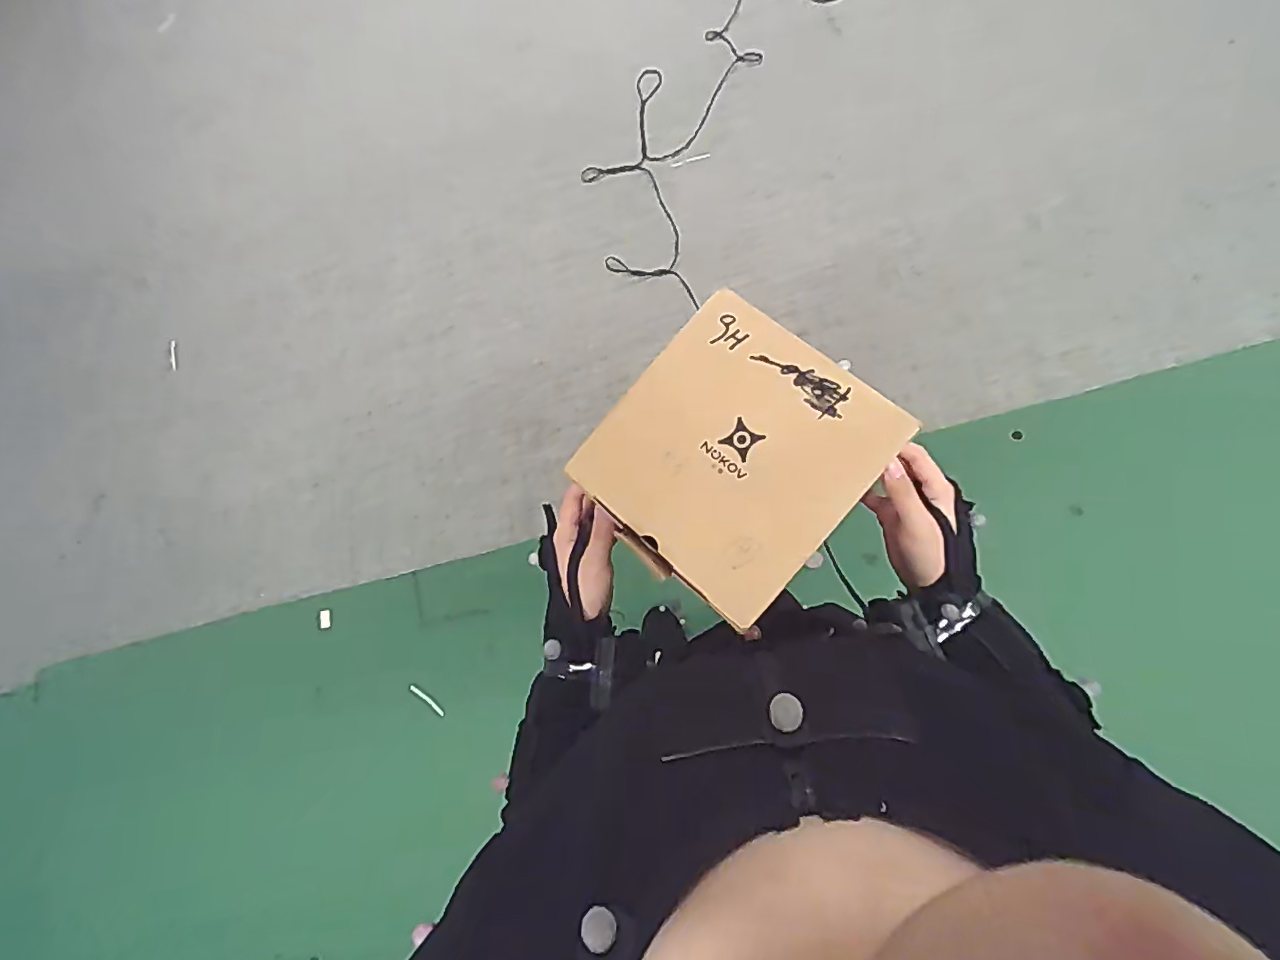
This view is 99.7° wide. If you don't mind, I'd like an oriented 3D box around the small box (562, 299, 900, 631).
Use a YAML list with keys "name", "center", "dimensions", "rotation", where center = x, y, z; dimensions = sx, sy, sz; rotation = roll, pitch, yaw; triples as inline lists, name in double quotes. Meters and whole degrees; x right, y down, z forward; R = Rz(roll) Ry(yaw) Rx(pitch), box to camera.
- name: "small box"
  center: [0.073, -0.002, 0.444]
  dimensions: [0.168, 0.176, 0.179]
  rotation: [40, 90, 16]
